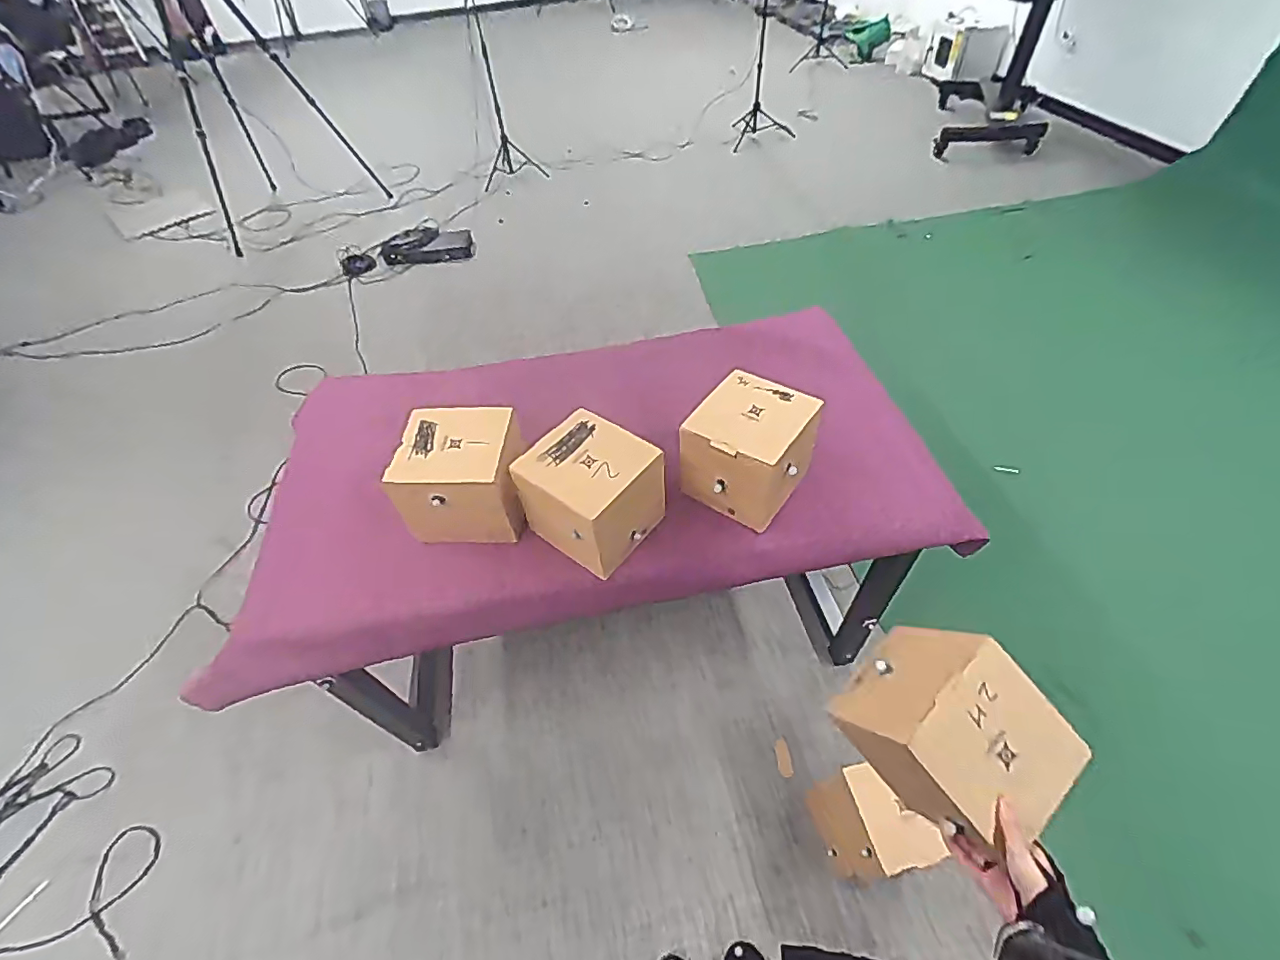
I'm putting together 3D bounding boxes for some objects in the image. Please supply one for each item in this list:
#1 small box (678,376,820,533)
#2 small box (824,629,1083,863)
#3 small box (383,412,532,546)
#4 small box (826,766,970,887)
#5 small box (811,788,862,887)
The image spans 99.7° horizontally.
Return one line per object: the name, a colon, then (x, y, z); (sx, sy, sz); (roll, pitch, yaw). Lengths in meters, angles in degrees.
small box: (0.183, -0.041, 0.922); (0.168, 0.176, 0.179); (28, 58, 26)
small box: (0.369, 0.302, 0.664); (0.168, 0.176, 0.179); (-41, 89, -16)
small box: (-0.297, 0.002, 0.924); (0.179, 0.176, 0.168); (0, 50, 3)
small box: (0.483, 0.662, 1.049); (0.168, 0.176, 0.179); (-12, 51, -6)
small box: (0.486, 0.766, 1.174); (0.179, 0.176, 0.168); (-9, 50, -4)
